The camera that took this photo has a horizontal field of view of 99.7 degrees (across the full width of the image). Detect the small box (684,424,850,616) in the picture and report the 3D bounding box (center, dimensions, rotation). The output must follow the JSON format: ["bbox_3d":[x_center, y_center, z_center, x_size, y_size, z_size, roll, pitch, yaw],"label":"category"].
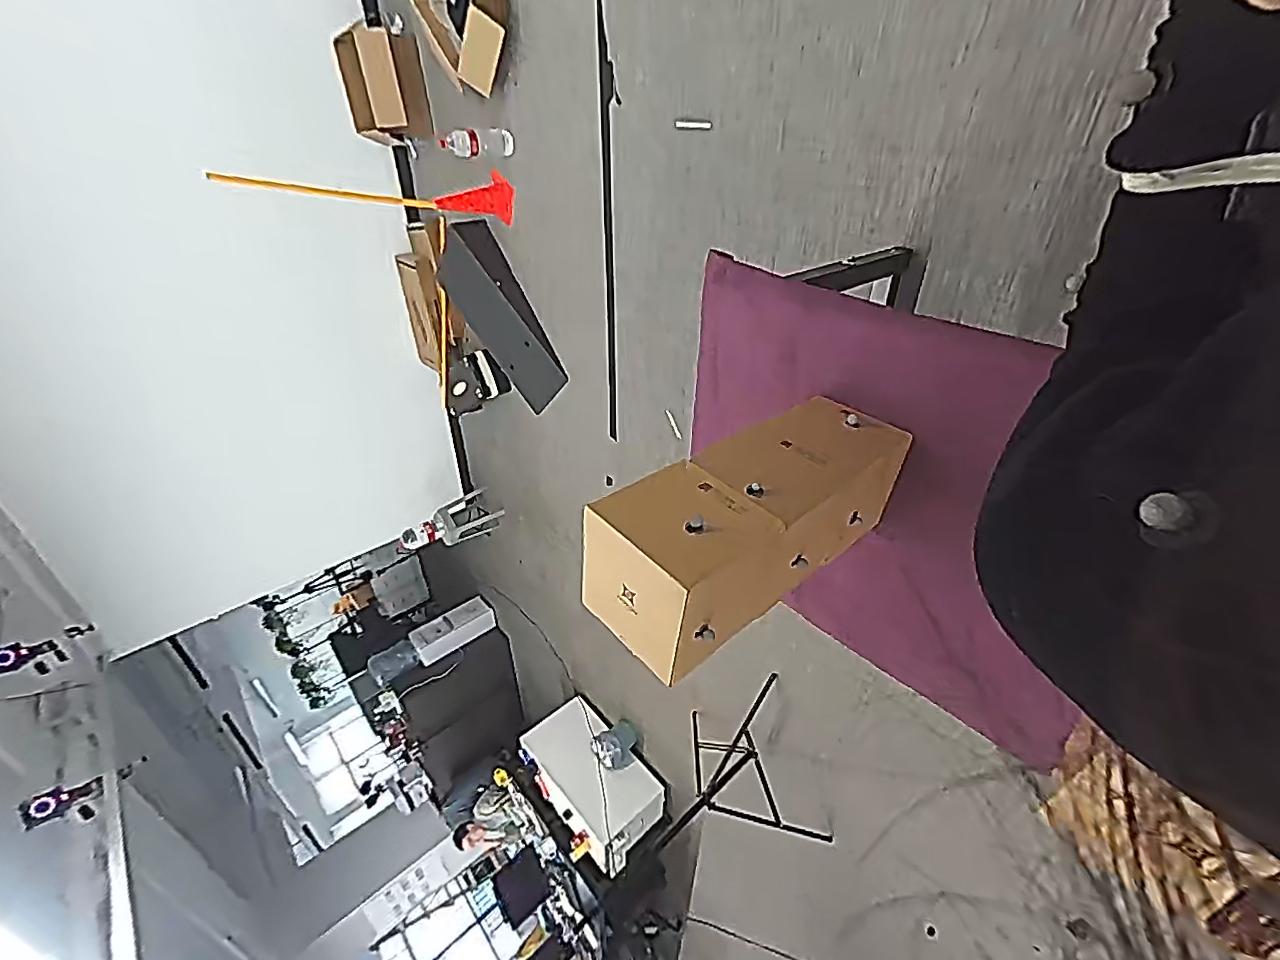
[{"bbox_3d":[0.167,0.049,0.763,0.168,0.176,0.179,36,138,34],"label":"small box"}]

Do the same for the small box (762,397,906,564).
[{"bbox_3d":[0.290,-0.007,0.857,0.168,0.176,0.179,35,136,35],"label":"small box"}]

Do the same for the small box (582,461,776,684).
[{"bbox_3d":[0.046,0.103,0.668,0.168,0.176,0.179,36,138,34],"label":"small box"}]
